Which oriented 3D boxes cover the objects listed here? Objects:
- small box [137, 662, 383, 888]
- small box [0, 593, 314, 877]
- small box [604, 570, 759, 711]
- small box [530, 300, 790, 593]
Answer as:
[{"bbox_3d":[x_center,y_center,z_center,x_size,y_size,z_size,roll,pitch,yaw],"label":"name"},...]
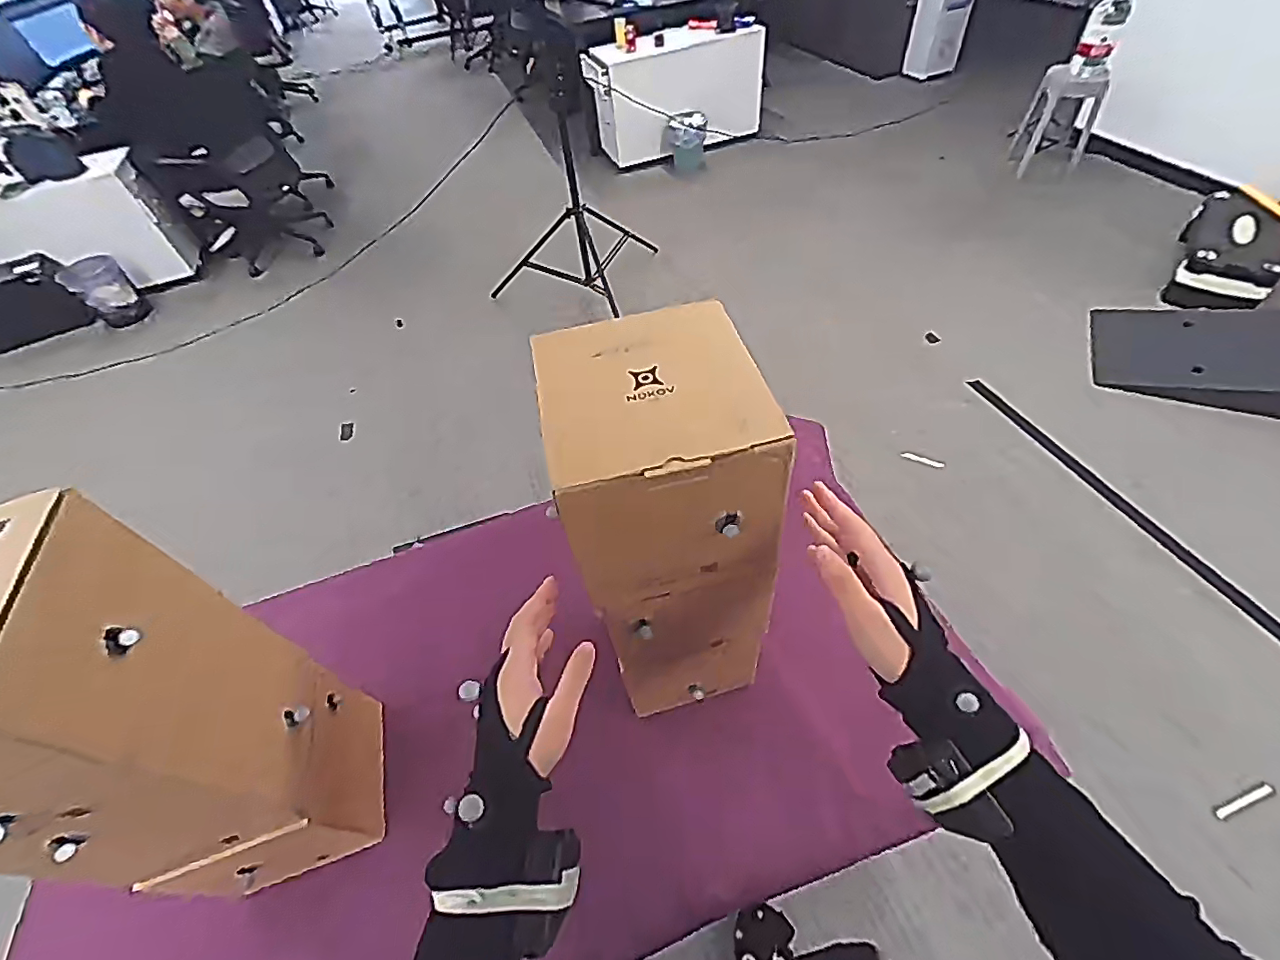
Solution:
[{"bbox_3d":[-0.422,0.350,0.638,0.168,0.176,0.179,-18,51,-8],"label":"small box"},{"bbox_3d":[-0.440,0.243,0.516,0.168,0.176,0.179,-18,50,-8],"label":"small box"},{"bbox_3d":[0.045,0.179,0.719,0.168,0.176,0.179,-15,51,-4],"label":"small box"},{"bbox_3d":[0.012,-0.021,0.463,0.168,0.176,0.179,-13,49,-5],"label":"small box"}]
